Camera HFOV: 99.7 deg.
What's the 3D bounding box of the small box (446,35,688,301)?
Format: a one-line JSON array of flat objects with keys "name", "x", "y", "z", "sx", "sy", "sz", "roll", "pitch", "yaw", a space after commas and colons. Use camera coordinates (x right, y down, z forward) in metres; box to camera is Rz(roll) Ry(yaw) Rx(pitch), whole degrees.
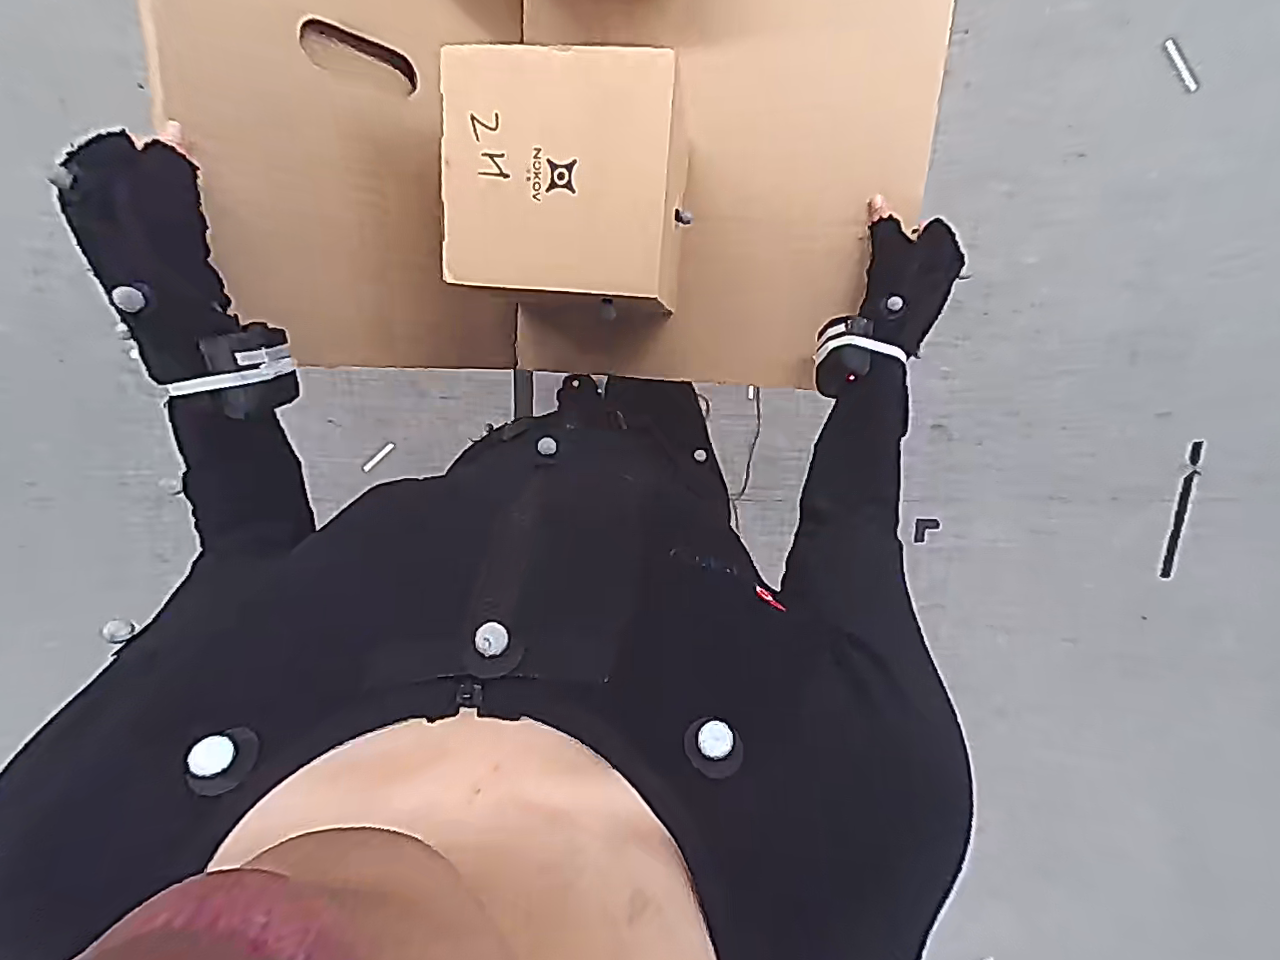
[{"name": "small box", "x": -0.053, "y": -0.258, "z": 0.487, "sx": 0.179, "sy": 0.176, "sz": 0.168, "roll": 7, "pitch": 104, "yaw": 7}]
